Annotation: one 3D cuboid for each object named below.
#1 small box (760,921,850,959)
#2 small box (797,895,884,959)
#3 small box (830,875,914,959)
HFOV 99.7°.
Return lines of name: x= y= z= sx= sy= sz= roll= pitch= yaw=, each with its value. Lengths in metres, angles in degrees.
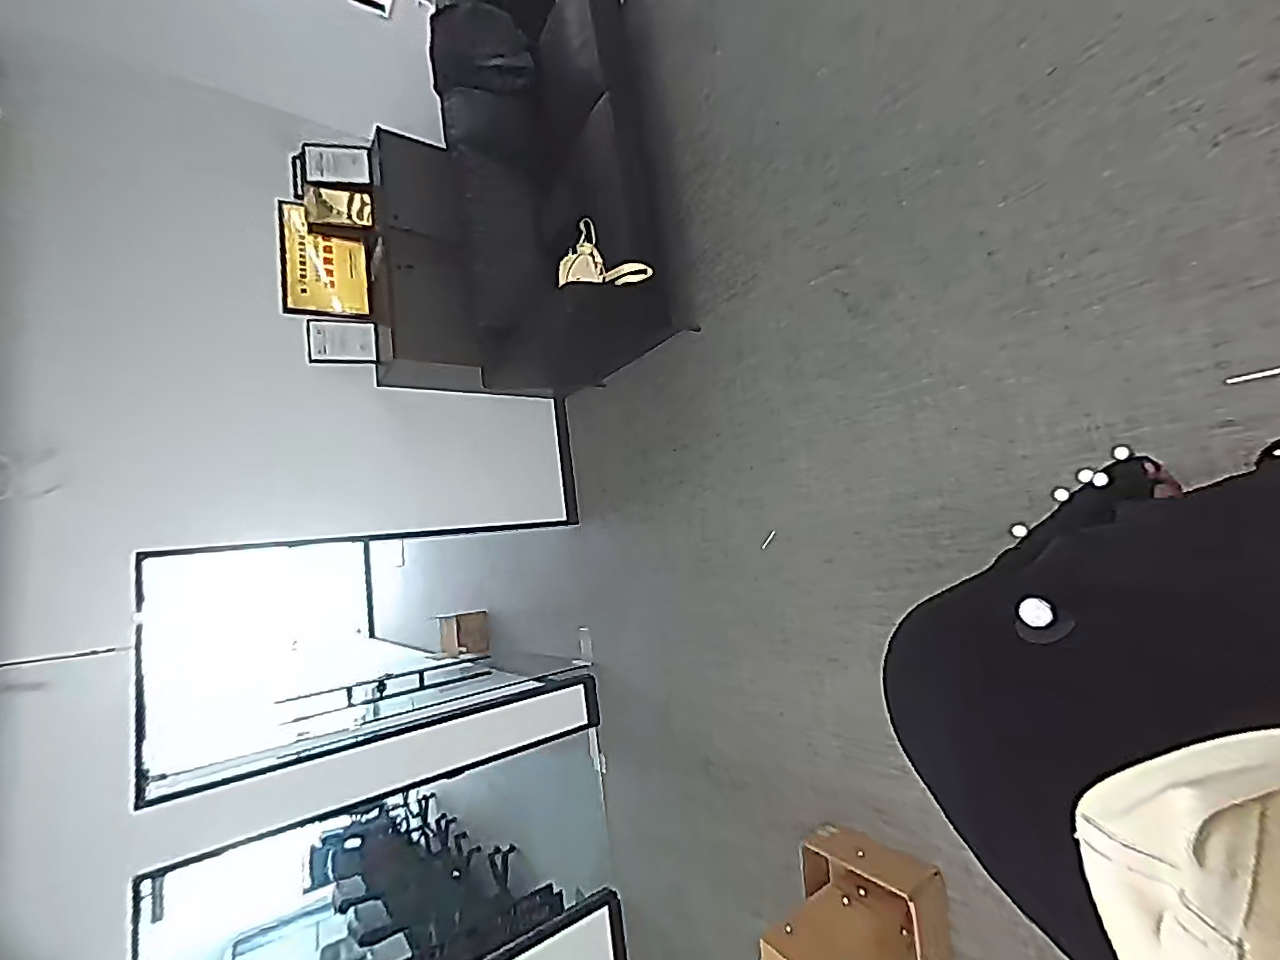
small box: x=0.453 y=1.364 z=1.480 sx=0.179 sy=0.176 sz=0.168 roll=-5 pitch=87 yaw=53
small box: x=0.585 y=1.363 z=1.577 sx=0.179 sy=0.176 sz=0.168 roll=-6 pitch=85 yaw=54
small box: x=0.716 y=1.369 z=1.674 sx=0.179 sy=0.176 sz=0.168 roll=-9 pitch=83 yaw=54
